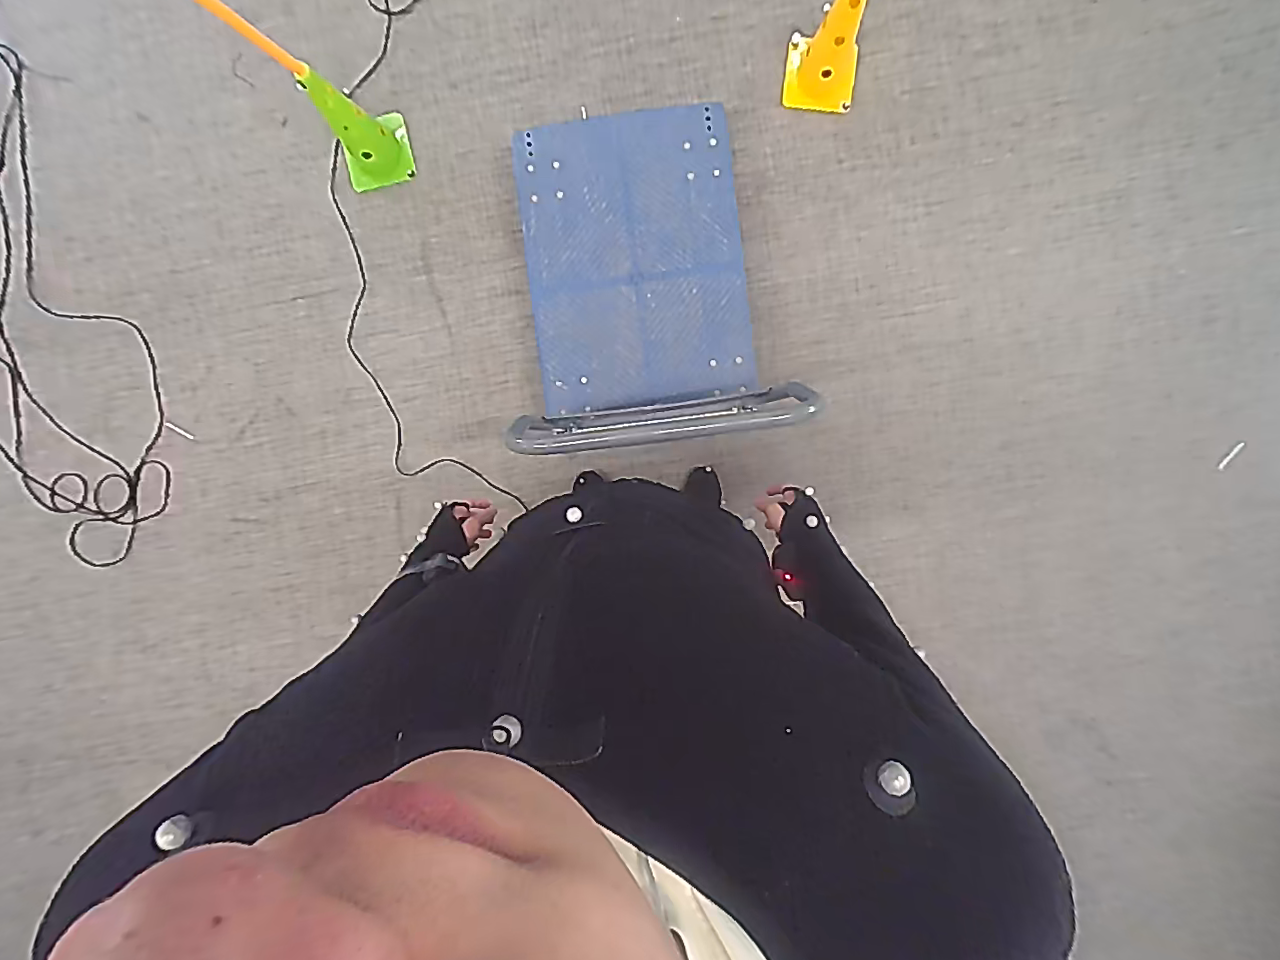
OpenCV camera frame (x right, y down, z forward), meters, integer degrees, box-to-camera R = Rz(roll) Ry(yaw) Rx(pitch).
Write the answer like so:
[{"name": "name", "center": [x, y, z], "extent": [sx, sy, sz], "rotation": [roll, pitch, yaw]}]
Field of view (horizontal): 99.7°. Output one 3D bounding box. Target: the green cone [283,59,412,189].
[{"name": "green cone", "center": [-0.806, -0.986, 1.449], "extent": [0.202, 0.368, 0.200], "rotation": [-14, 92, 4]}]
